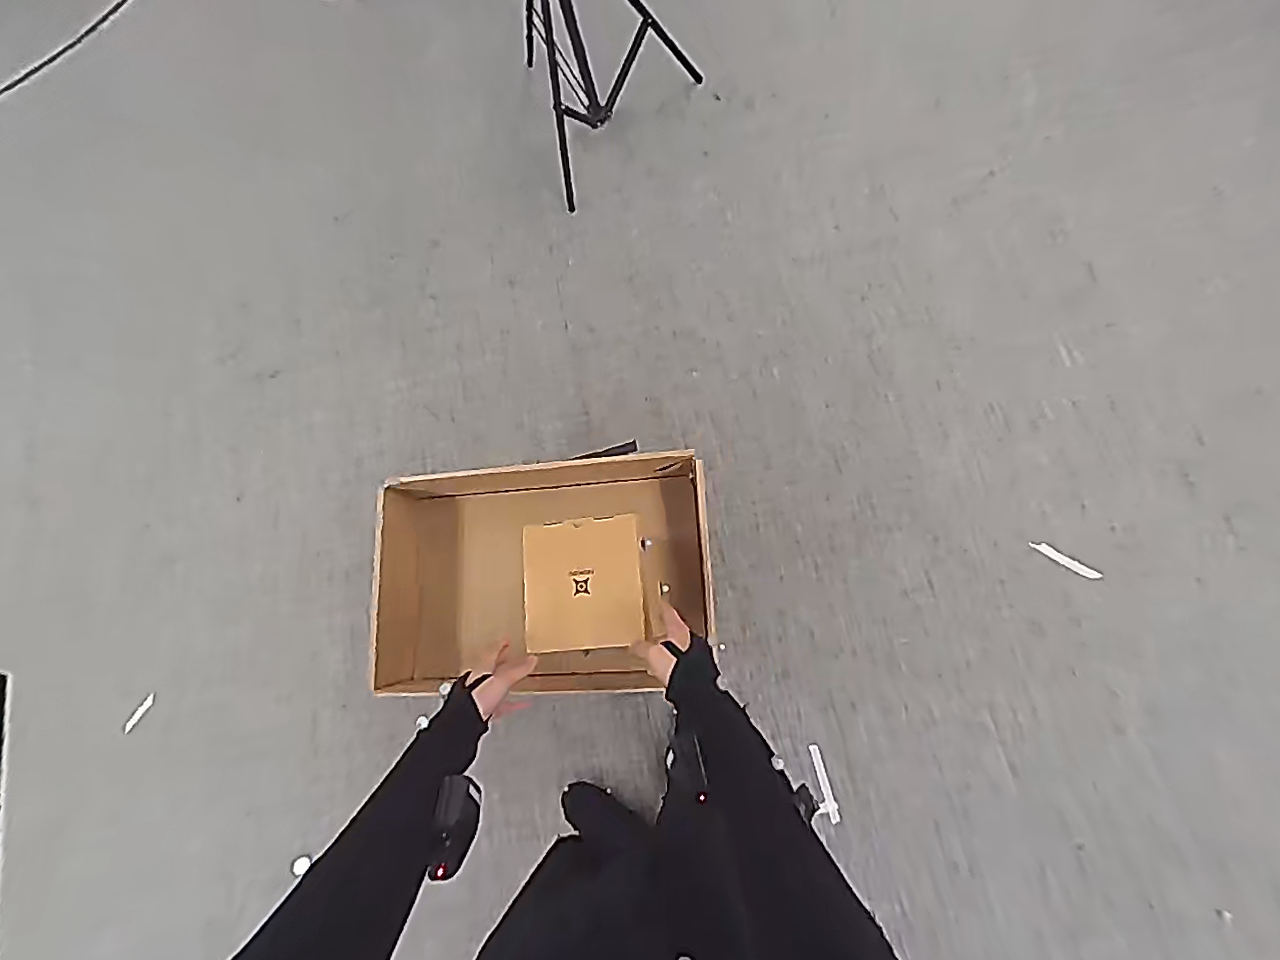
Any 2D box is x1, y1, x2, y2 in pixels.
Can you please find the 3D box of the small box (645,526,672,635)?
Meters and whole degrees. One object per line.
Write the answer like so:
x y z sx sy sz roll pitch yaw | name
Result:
-0.040 0.184 0.958 0.168 0.176 0.179 -8 76 8 | small box

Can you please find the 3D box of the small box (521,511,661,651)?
-0.066 0.150 0.801 0.168 0.176 0.179 -7 76 8 | small box
